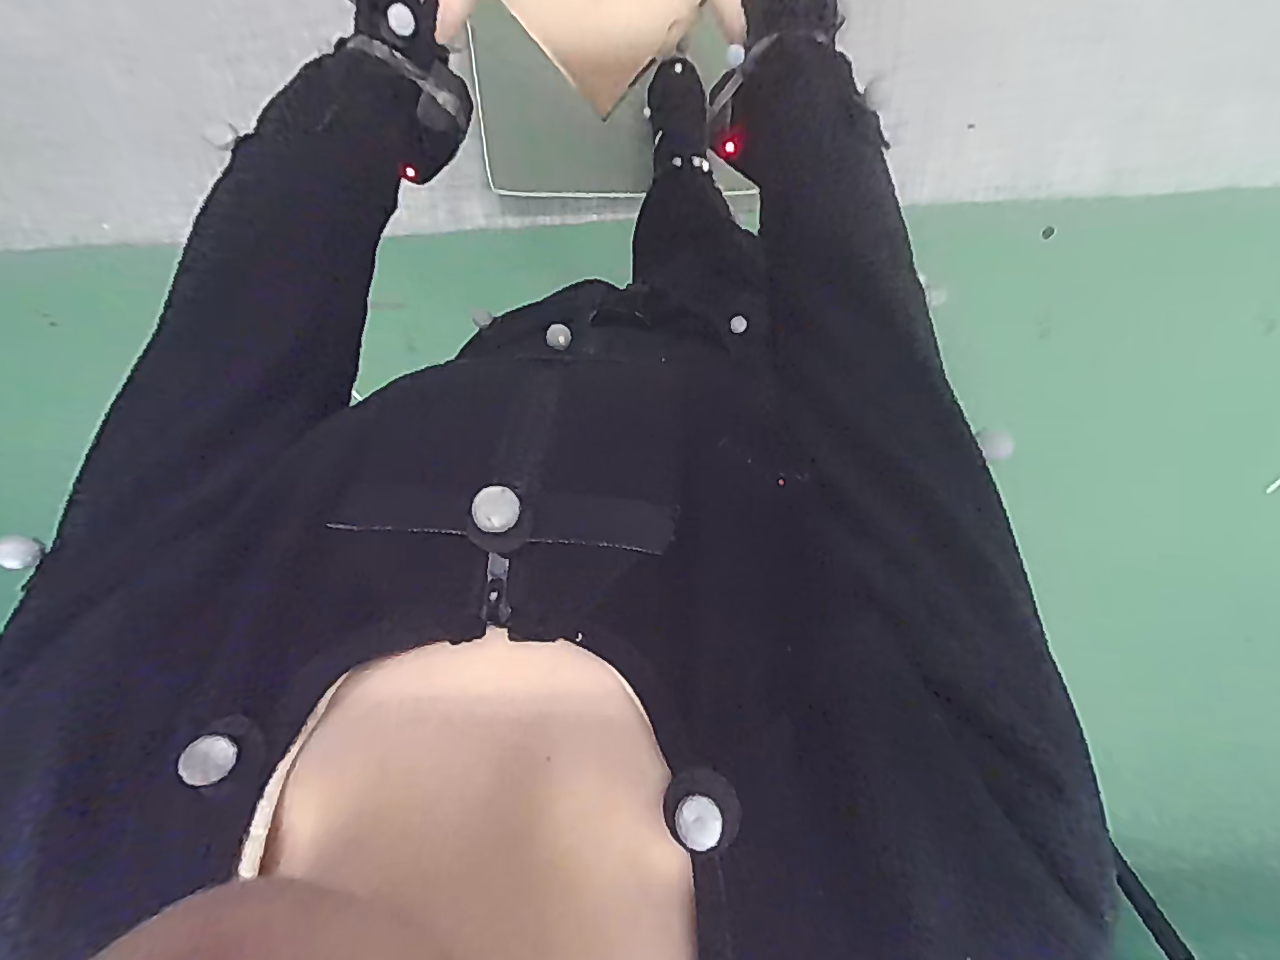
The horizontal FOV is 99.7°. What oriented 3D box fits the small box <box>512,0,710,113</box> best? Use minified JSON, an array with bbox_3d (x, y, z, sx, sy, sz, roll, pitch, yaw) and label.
[{"bbox_3d":[-0.024,-0.444,0.431,0.168,0.176,0.179,-35,121,27],"label":"small box"}]
